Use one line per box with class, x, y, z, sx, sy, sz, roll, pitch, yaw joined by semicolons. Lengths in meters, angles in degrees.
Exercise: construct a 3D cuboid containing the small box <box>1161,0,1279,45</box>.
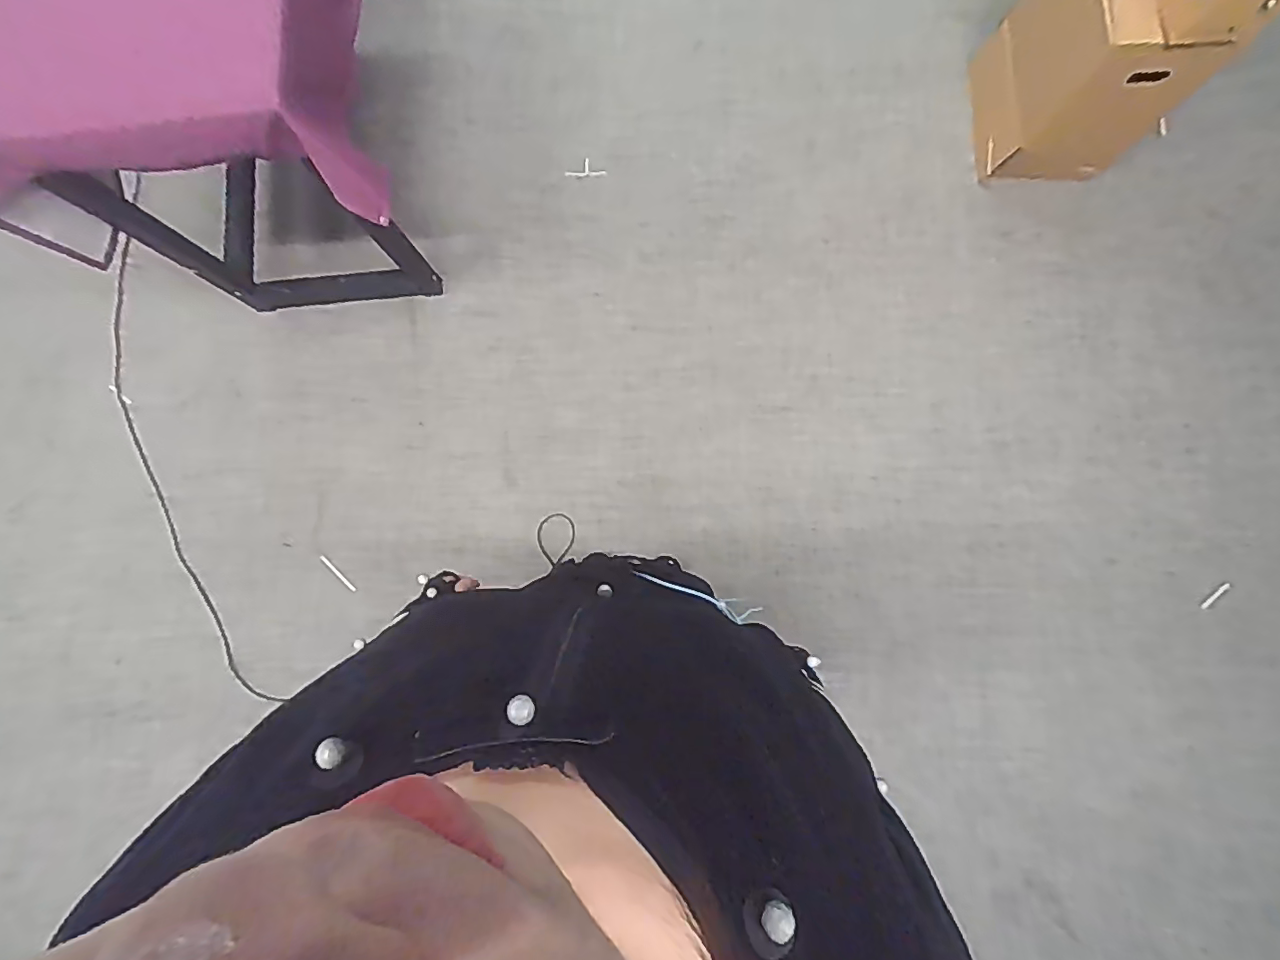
small box;1.209;-1.022;1.089;0.168;0.176;0.179;-2;82;0
